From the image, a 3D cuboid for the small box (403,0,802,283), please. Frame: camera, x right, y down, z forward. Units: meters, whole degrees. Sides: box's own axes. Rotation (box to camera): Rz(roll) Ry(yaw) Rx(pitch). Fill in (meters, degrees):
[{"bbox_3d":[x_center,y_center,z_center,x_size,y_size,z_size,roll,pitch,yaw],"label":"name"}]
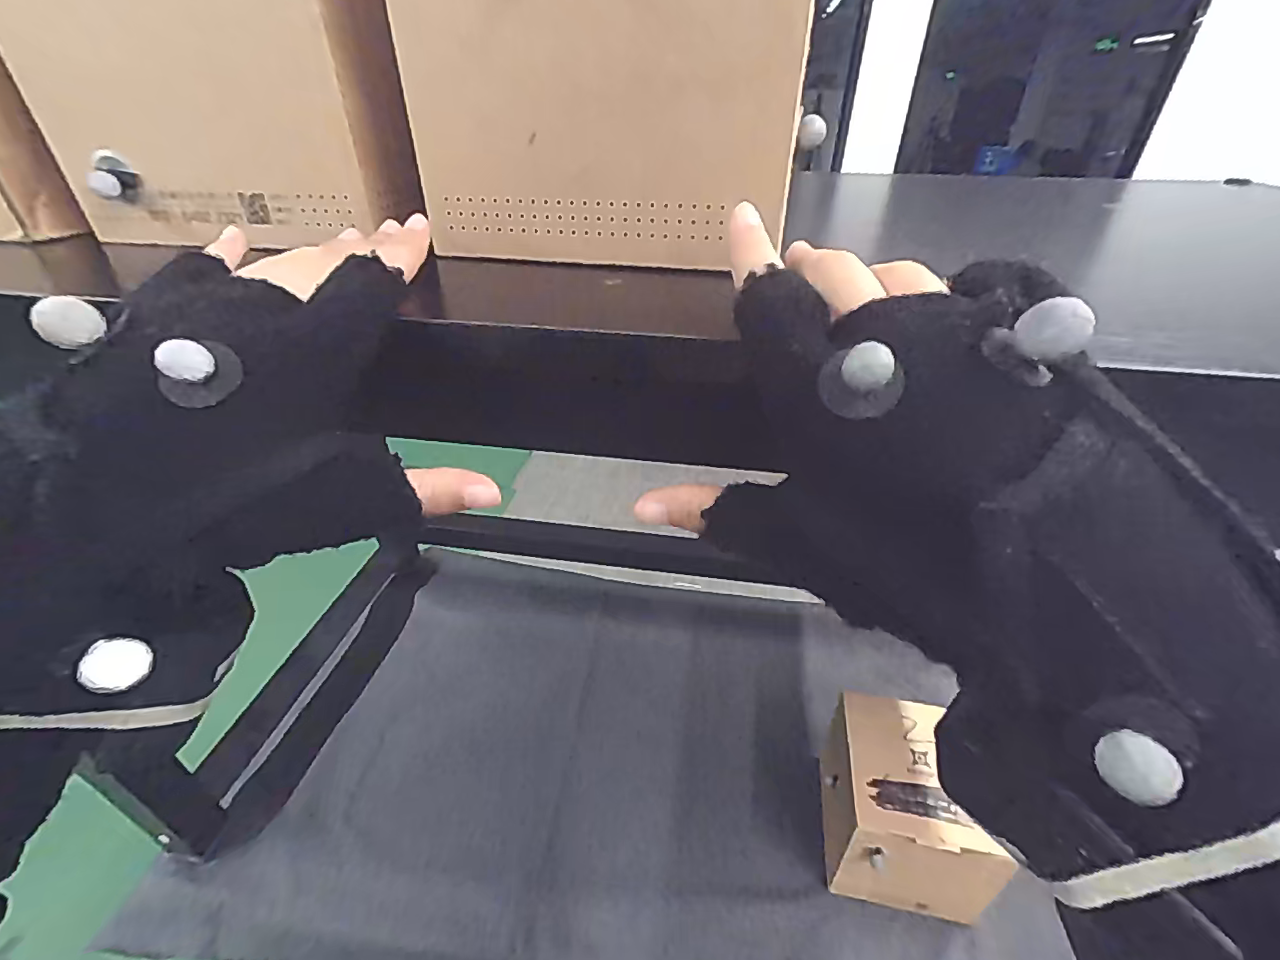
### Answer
[{"bbox_3d":[-0.008,-0.212,0.291,0.179,0.176,0.168,8,35,10],"label":"small box"}]
